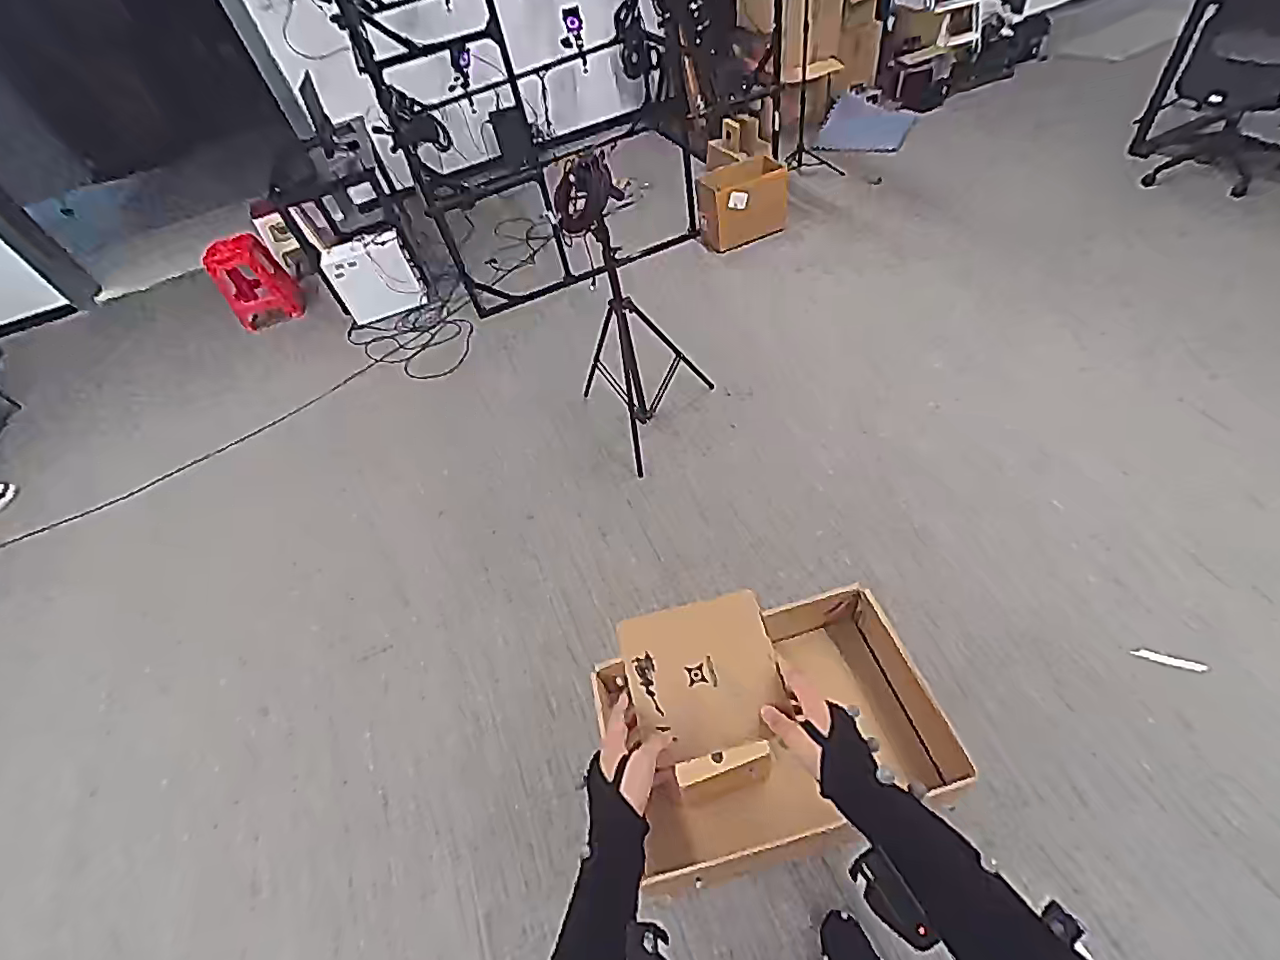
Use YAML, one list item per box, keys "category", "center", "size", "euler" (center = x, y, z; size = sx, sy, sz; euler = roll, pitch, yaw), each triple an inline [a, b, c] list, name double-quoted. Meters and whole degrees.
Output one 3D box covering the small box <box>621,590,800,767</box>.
- category: "small box"
  center: [0.079, 0.256, 0.695]
  size: [0.179, 0.176, 0.168]
  euler: [-12, 65, -3]
